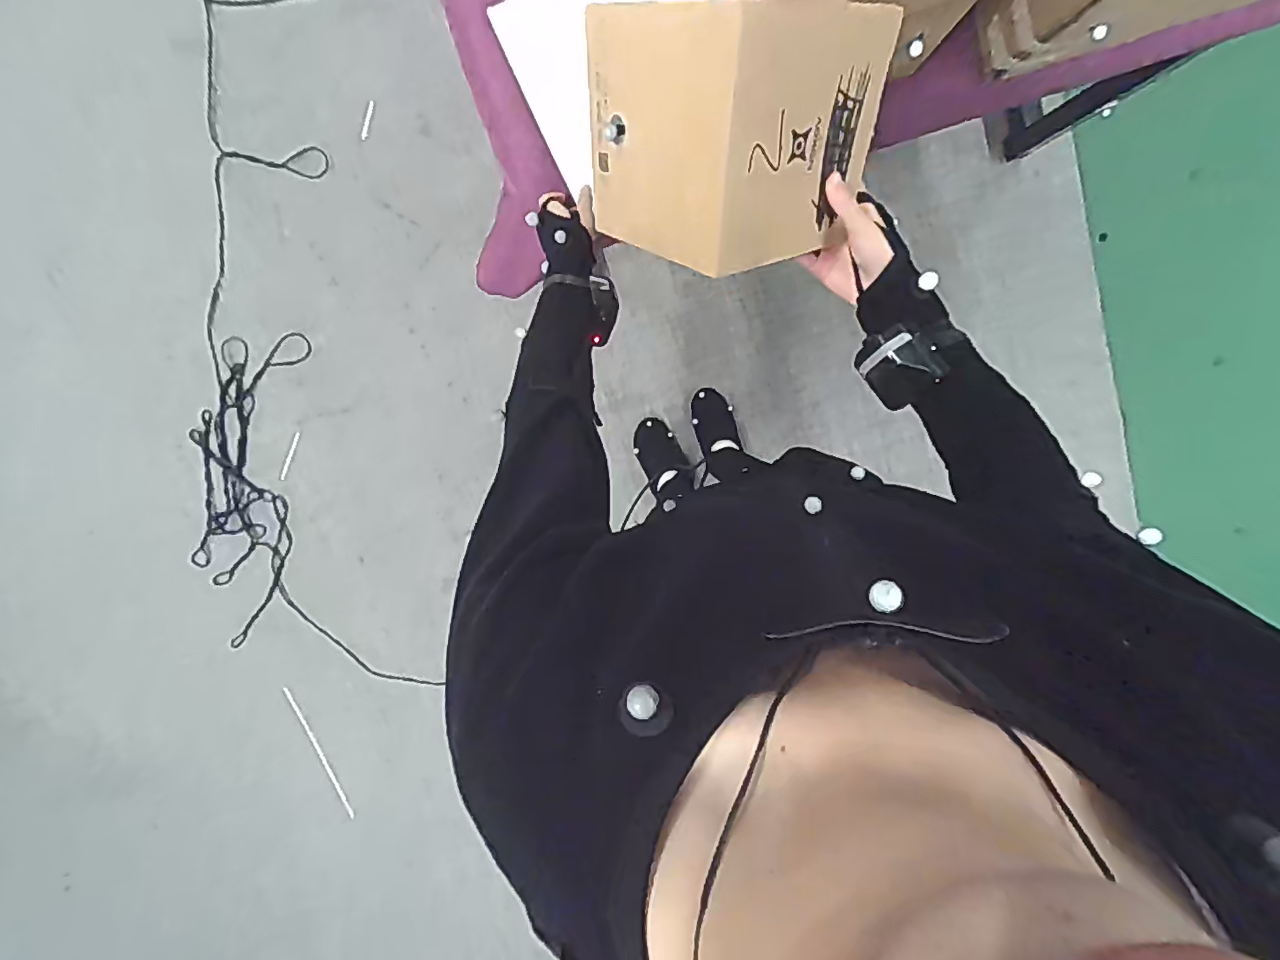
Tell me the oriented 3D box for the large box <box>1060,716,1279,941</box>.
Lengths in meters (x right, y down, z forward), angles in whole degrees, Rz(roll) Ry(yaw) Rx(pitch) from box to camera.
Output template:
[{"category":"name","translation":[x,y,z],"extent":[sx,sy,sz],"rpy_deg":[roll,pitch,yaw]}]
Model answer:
[{"category":"large box","translation":[1.547,0.970,1.544],"extent":[0.408,0.320,0.320],"rpy_deg":[-32,99,3]}]

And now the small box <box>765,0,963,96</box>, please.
[{"category":"small box","translation":[0.243,-0.560,0.589],"extent":[0.168,0.176,0.179],"rpy_deg":[-17,98,1]}]
